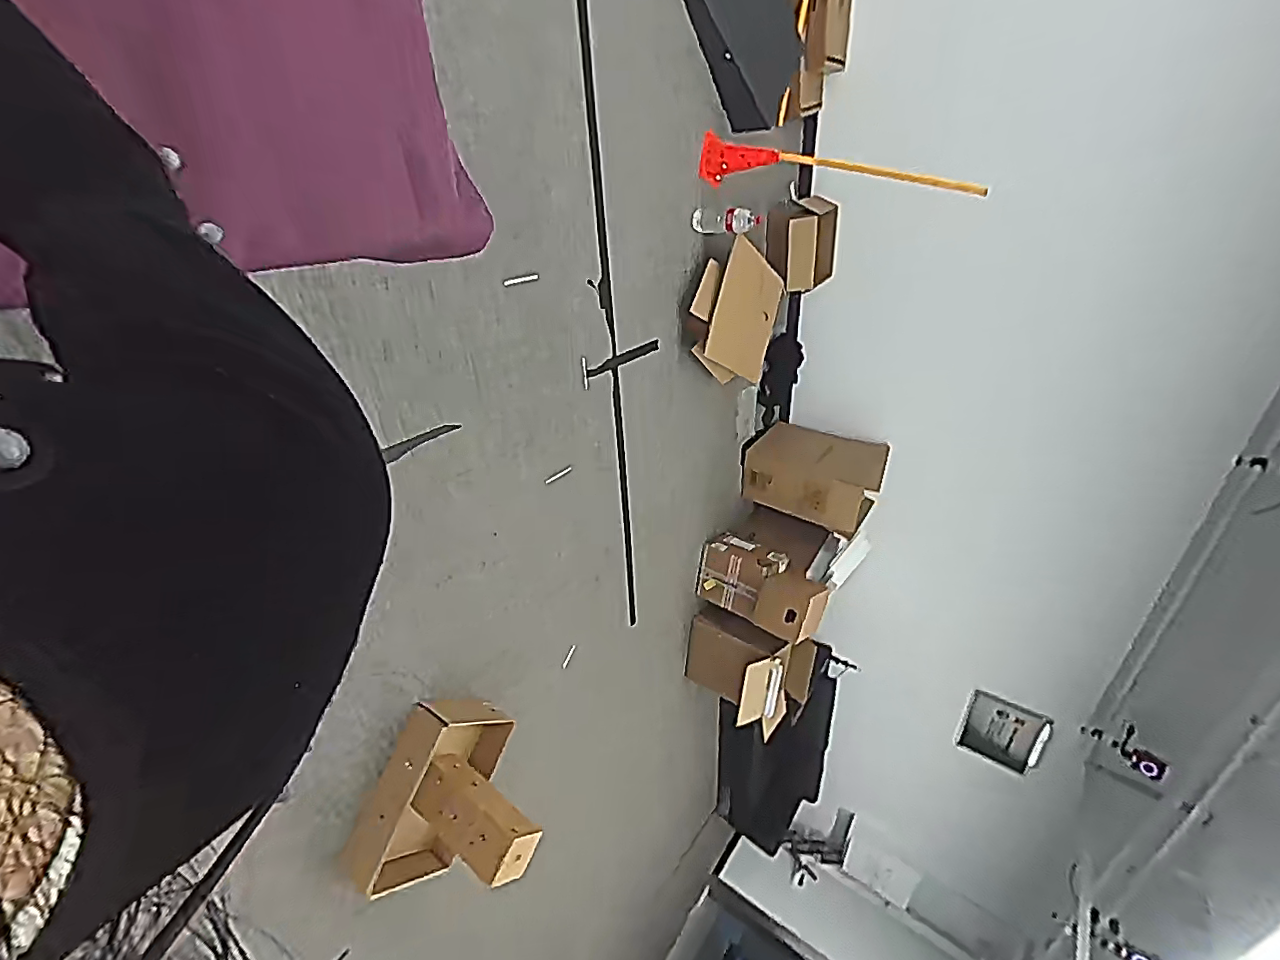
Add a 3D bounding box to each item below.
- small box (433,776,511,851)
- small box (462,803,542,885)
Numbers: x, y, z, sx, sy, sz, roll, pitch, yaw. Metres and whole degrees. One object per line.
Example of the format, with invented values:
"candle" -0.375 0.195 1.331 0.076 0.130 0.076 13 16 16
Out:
"small box" -0.616 1.209 1.973 0.168 0.176 0.179 -63 147 -11
"small box" -0.483 1.263 1.893 0.168 0.176 0.179 -64 148 -11
